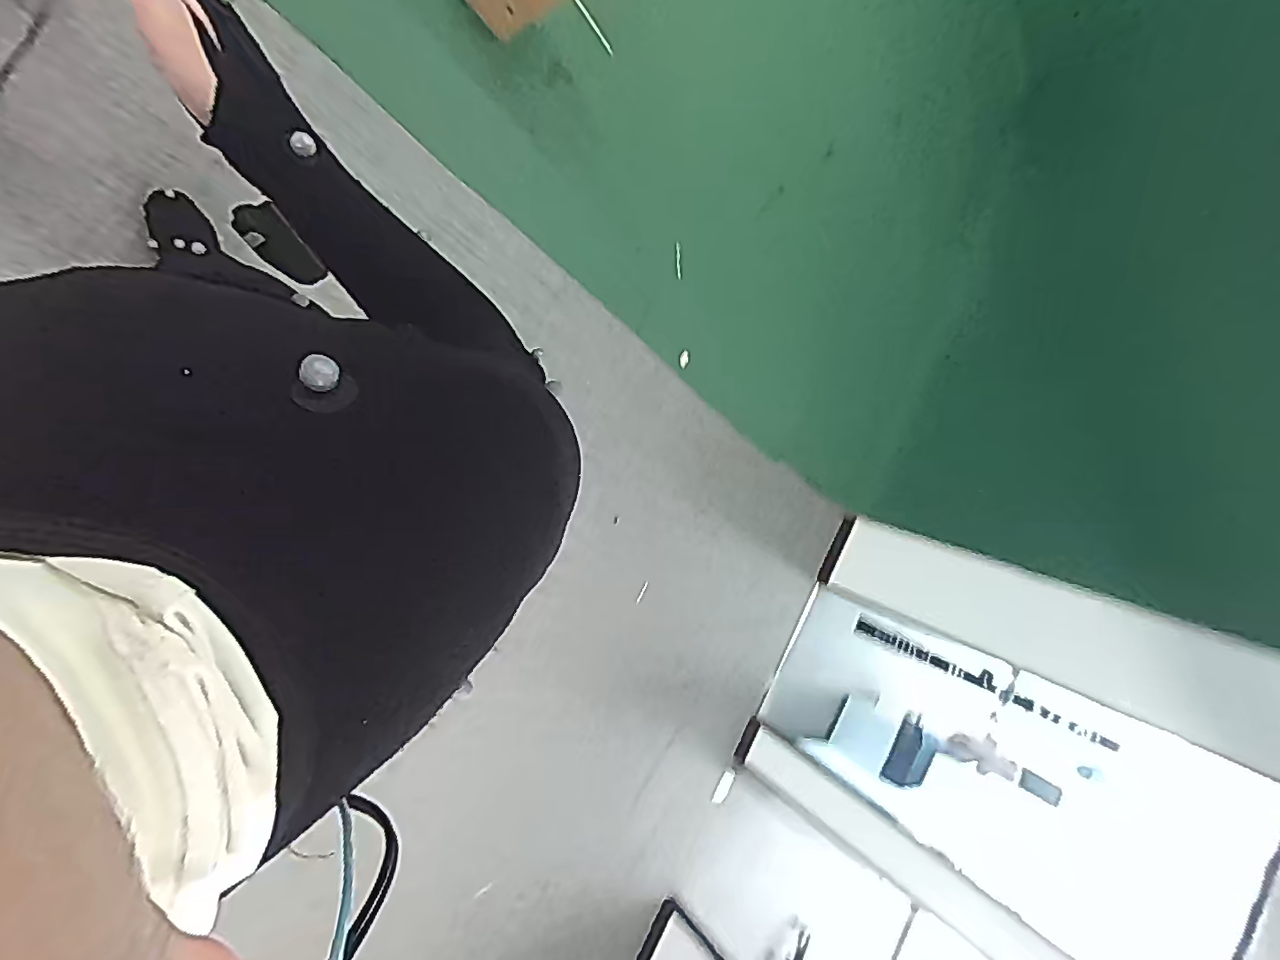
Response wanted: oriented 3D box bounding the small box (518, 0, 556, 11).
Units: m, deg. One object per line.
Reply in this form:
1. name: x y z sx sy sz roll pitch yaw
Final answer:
1. small box: -0.241 -1.252 1.261 0.179 0.176 0.168 27 87 -41

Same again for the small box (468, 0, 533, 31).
1. small box: -0.350 -1.294 1.374 0.179 0.176 0.168 31 84 -43
